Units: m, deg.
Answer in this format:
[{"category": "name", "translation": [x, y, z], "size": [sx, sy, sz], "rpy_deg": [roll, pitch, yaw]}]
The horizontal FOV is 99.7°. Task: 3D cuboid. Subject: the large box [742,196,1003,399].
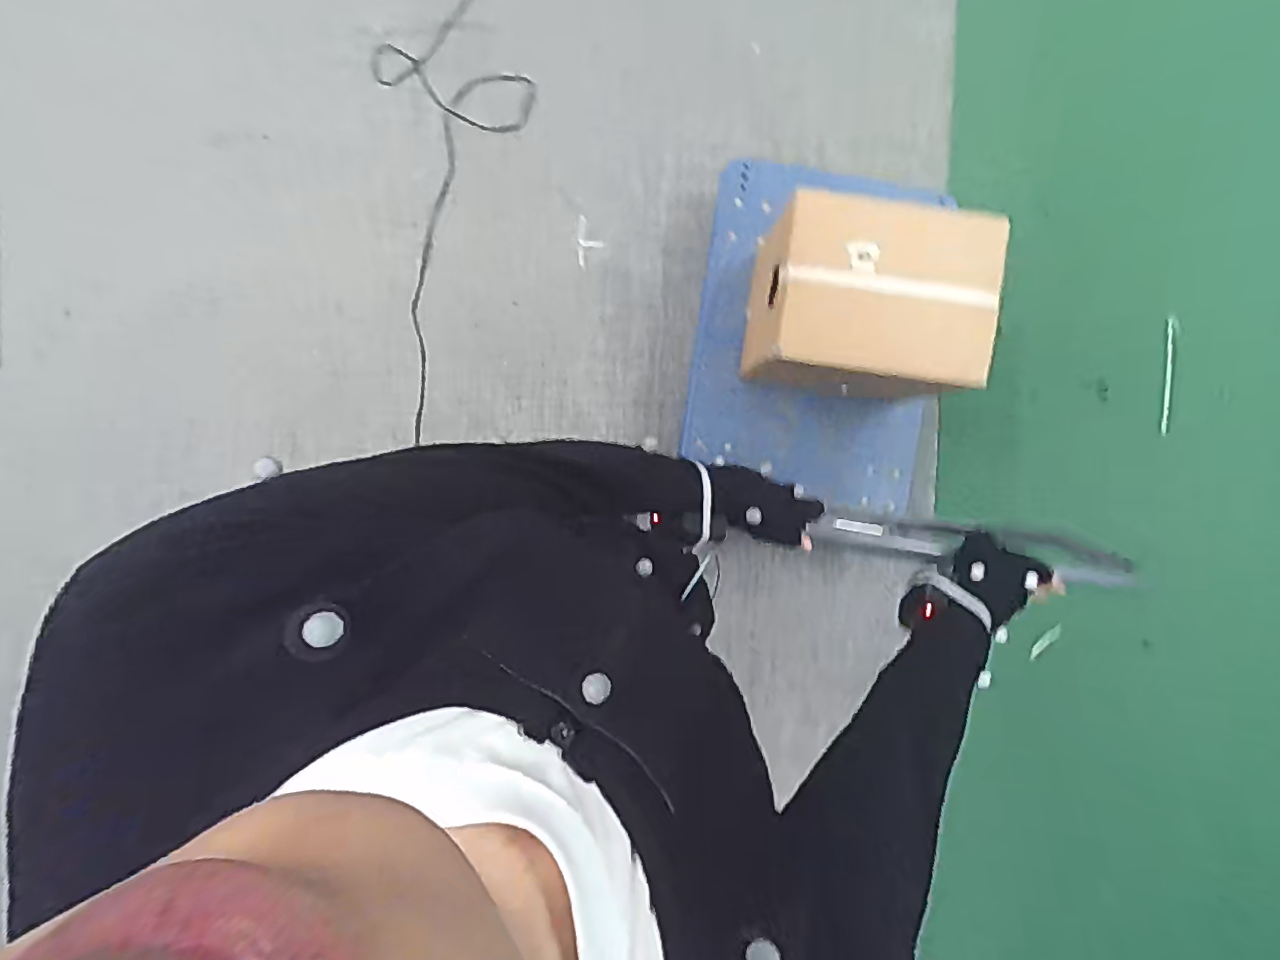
[{"category": "large box", "translation": [0.465, -0.361, 1.162], "size": [0.408, 0.320, 0.320], "rpy_deg": [8, 92, -1]}]
